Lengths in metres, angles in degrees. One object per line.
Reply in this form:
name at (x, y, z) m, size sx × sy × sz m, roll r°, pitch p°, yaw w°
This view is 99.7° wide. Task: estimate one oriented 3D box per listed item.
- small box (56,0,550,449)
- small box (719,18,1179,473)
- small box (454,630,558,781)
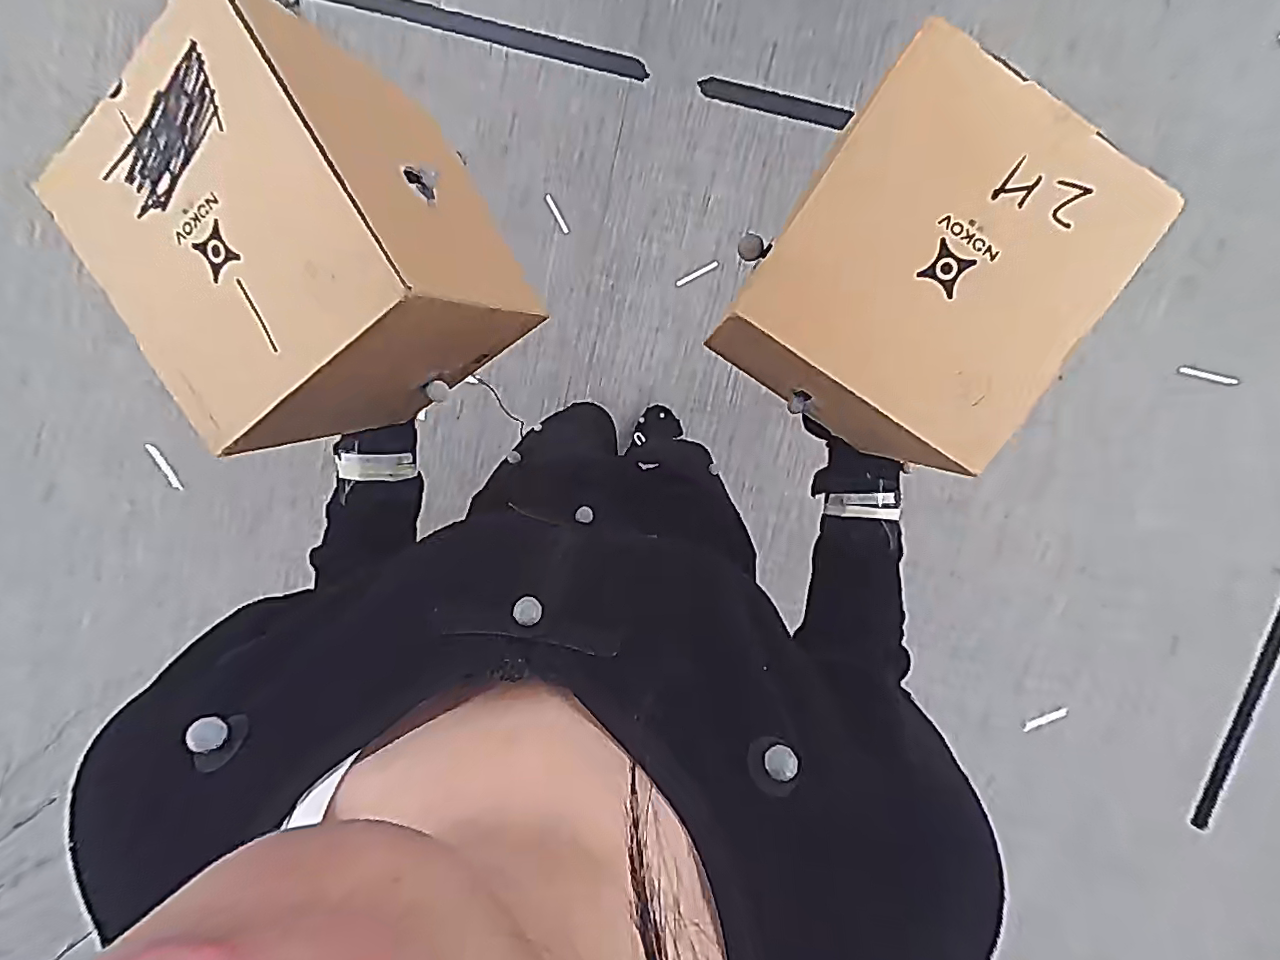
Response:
small box at (-0.191, -0.143, 0.352) m, size 0.168 × 0.176 × 0.179 m, roll -30°, pitch 95°, yaw 19°
small box at (0.168, -0.128, 0.365) m, size 0.168 × 0.176 × 0.179 m, roll 33°, pitch 97°, yaw -5°
small box at (-0.260, 0.404, 0.997) m, size 0.168 × 0.176 × 0.179 m, roll 18°, pitch 97°, yaw 0°
